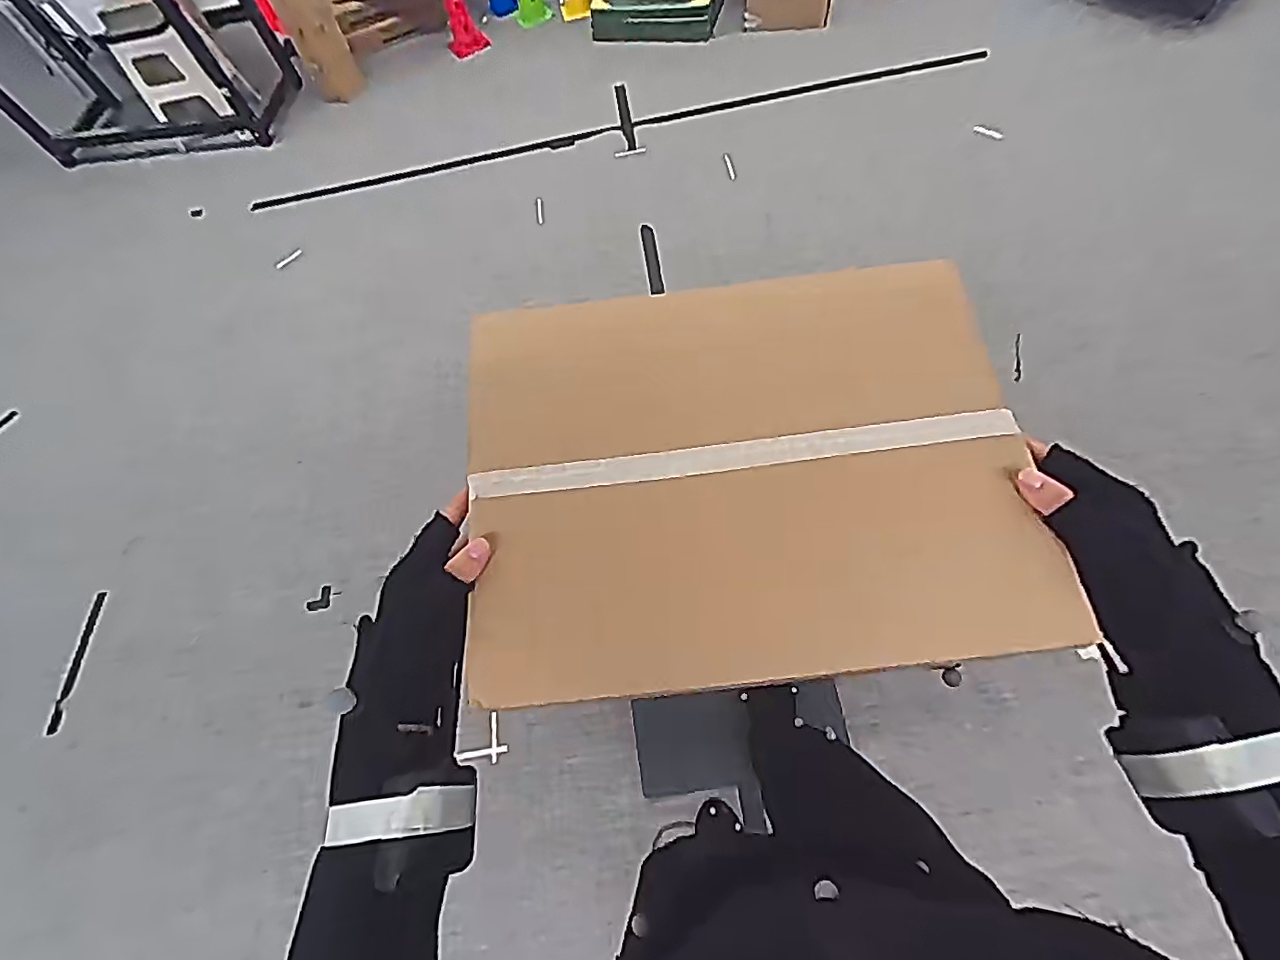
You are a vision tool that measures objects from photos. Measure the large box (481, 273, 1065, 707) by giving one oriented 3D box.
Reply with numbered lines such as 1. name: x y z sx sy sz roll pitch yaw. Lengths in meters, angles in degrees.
1. large box: 0.086 0.039 0.556 0.408 0.320 0.320 -7 68 2

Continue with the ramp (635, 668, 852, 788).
1. ramp: 0.184 0.213 1.401 0.509 0.206 0.991 -11 63 1
